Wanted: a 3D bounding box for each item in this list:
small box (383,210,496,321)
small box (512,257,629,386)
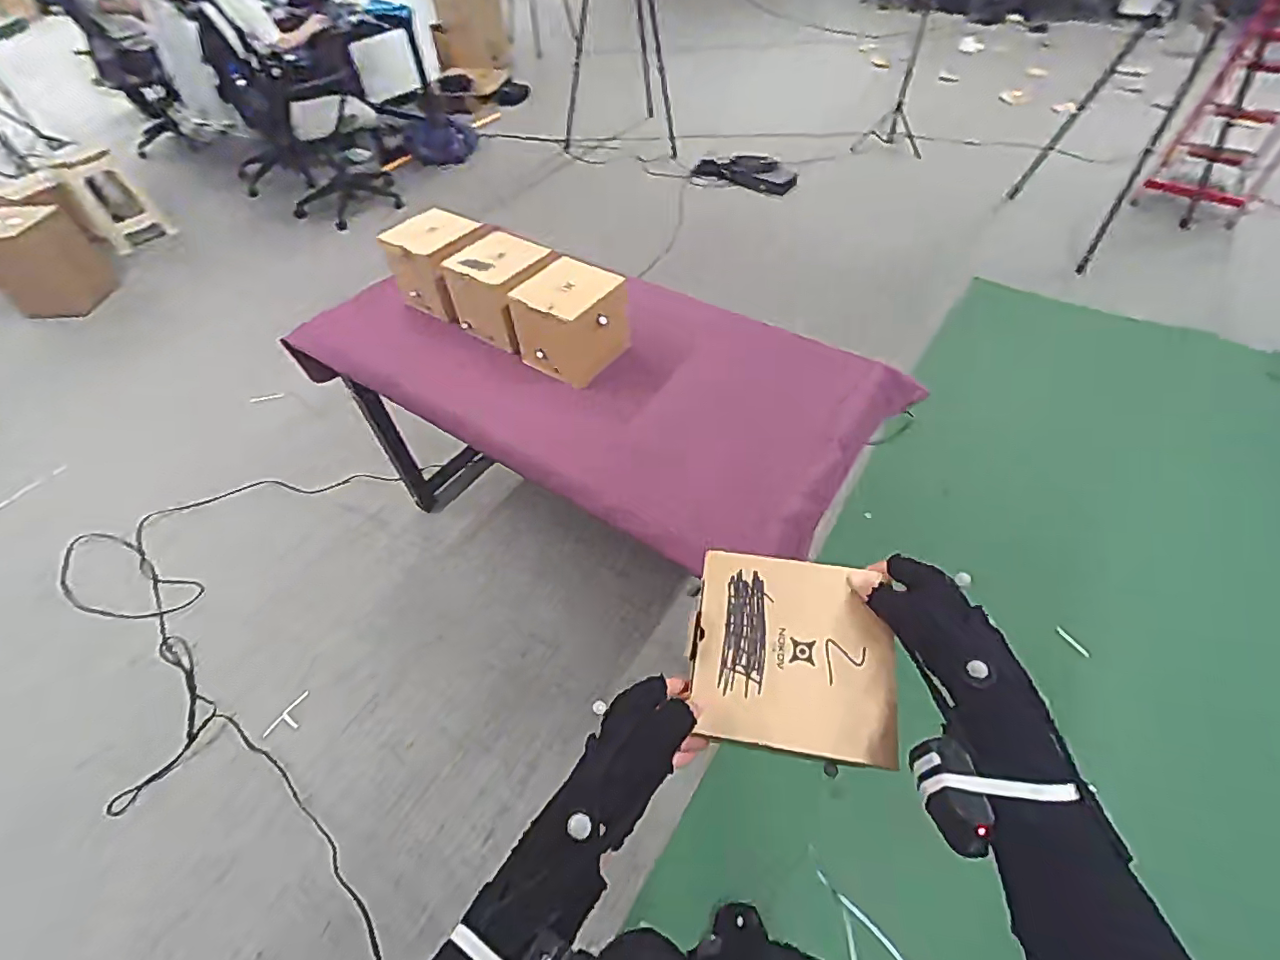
[{"bbox_3d":[-0.468,-0.515,1.300,0.168,0.176,0.179,28,58,24],"label":"small box"},{"bbox_3d":[-0.136,-0.330,1.133,0.168,0.176,0.179,28,58,24],"label":"small box"}]
